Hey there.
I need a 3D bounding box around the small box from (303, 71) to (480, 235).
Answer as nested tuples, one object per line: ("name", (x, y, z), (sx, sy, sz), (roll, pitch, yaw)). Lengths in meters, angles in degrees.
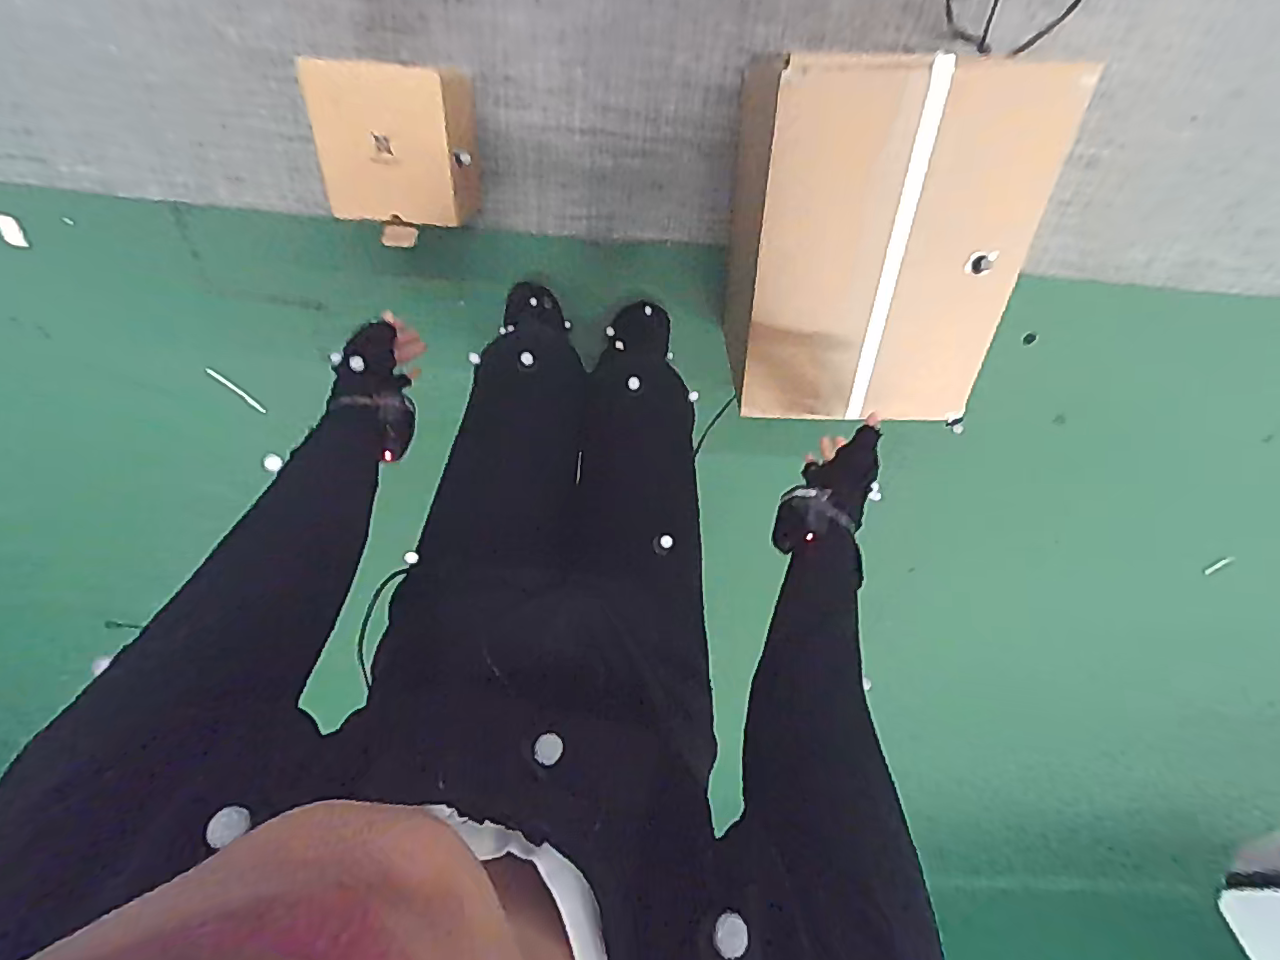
("small box", (-0.332, -0.463, 0.763), (0.168, 0.176, 0.179), (2, 128, -3))
